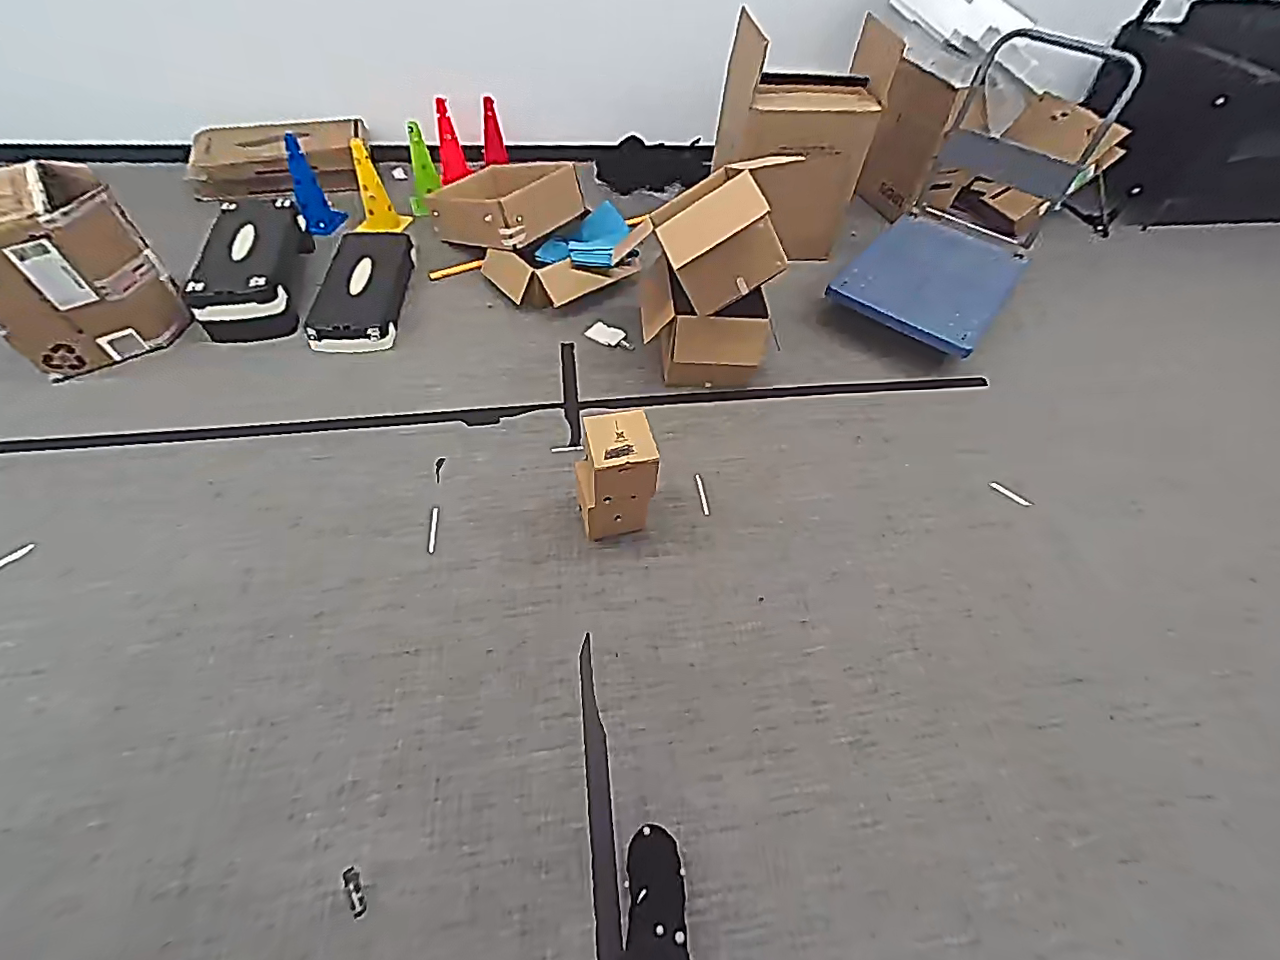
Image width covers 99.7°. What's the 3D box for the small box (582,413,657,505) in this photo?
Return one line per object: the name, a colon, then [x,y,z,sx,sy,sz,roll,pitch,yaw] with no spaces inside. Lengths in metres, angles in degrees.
small box: [-0.057,-0.048,1.430,0.168,0.176,0.179,-9,53,-11]
